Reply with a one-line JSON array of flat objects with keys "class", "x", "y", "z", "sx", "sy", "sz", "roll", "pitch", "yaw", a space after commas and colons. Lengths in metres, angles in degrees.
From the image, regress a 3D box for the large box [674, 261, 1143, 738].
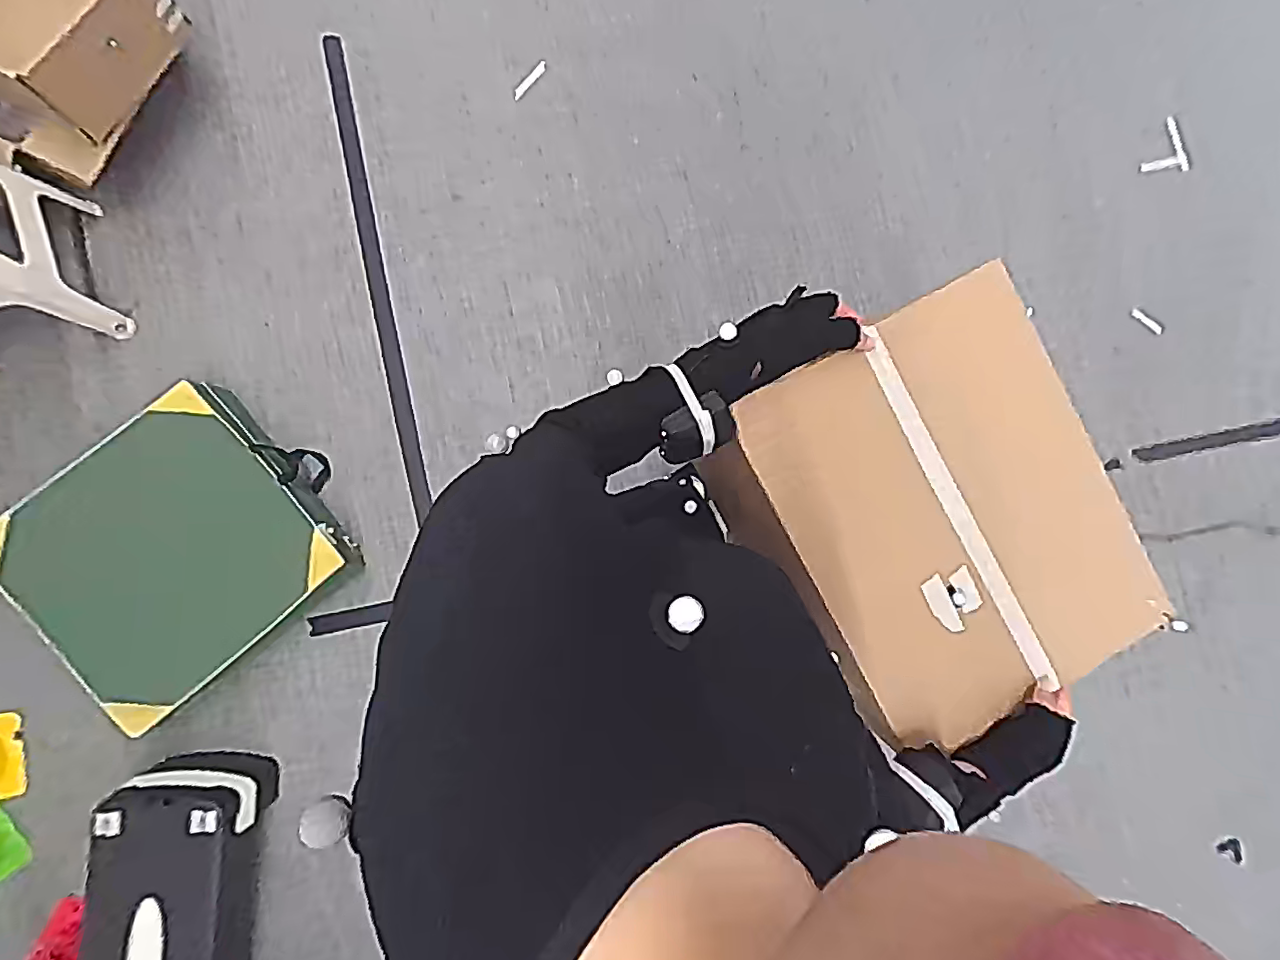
[{"class": "large box", "x": 0.289, "y": 0.017, "z": 0.695, "sx": 0.320, "sy": 0.320, "sz": 0.408, "roll": -29, "pitch": 94, "yaw": -3}]
